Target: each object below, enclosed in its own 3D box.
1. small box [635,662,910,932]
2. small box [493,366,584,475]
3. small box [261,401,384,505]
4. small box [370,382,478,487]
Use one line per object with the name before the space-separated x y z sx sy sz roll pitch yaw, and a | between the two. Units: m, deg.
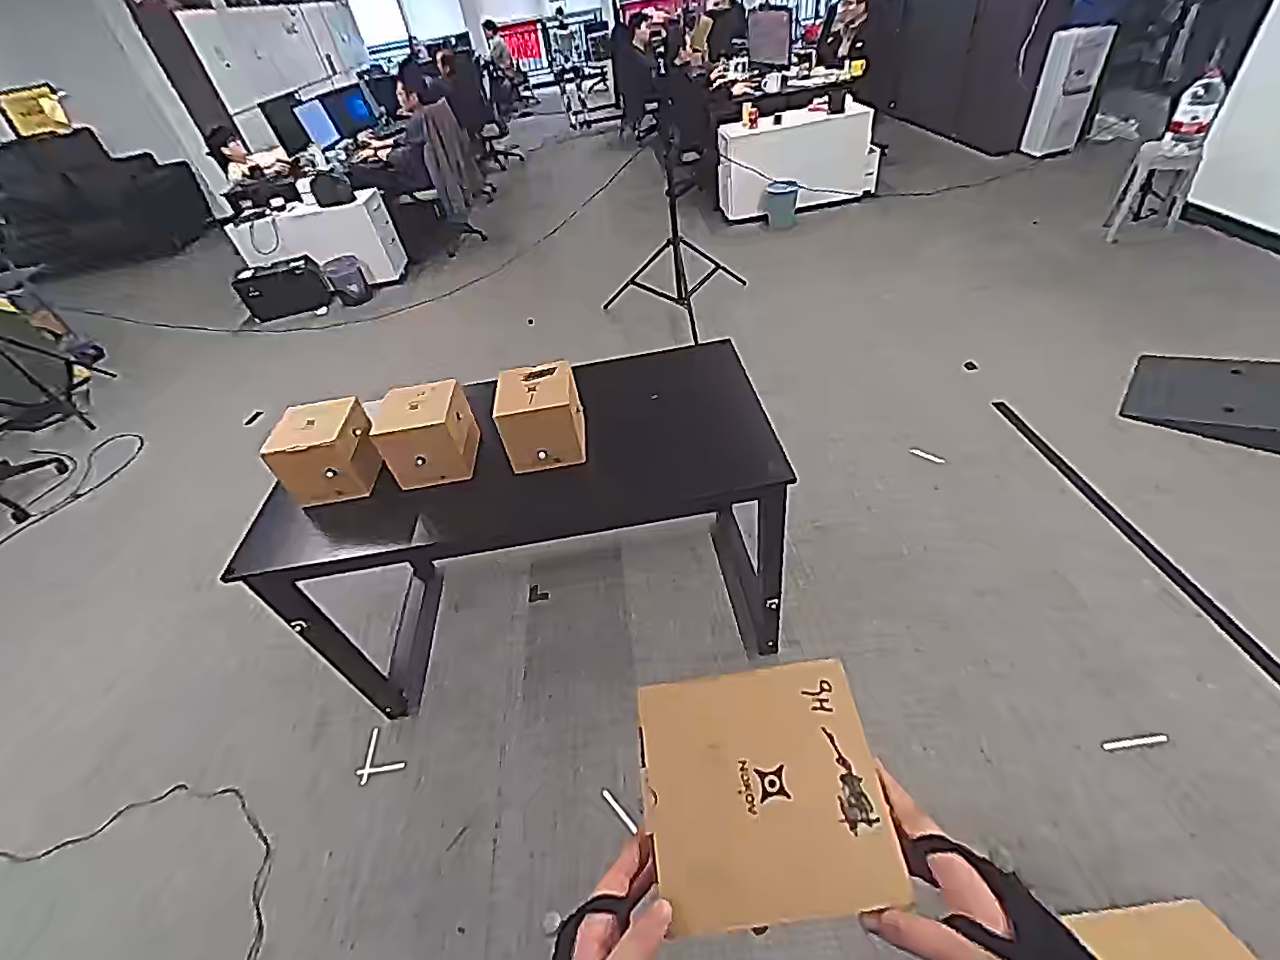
small box | 0.099 0.274 0.473 0.179 0.176 0.168 -9 56 2
small box | -0.225 -0.135 1.240 0.168 0.176 0.179 -10 43 1
small box | -0.723 -0.058 1.257 0.168 0.176 0.179 -9 41 0
small box | -0.487 -0.098 1.252 0.168 0.176 0.179 -9 42 1
